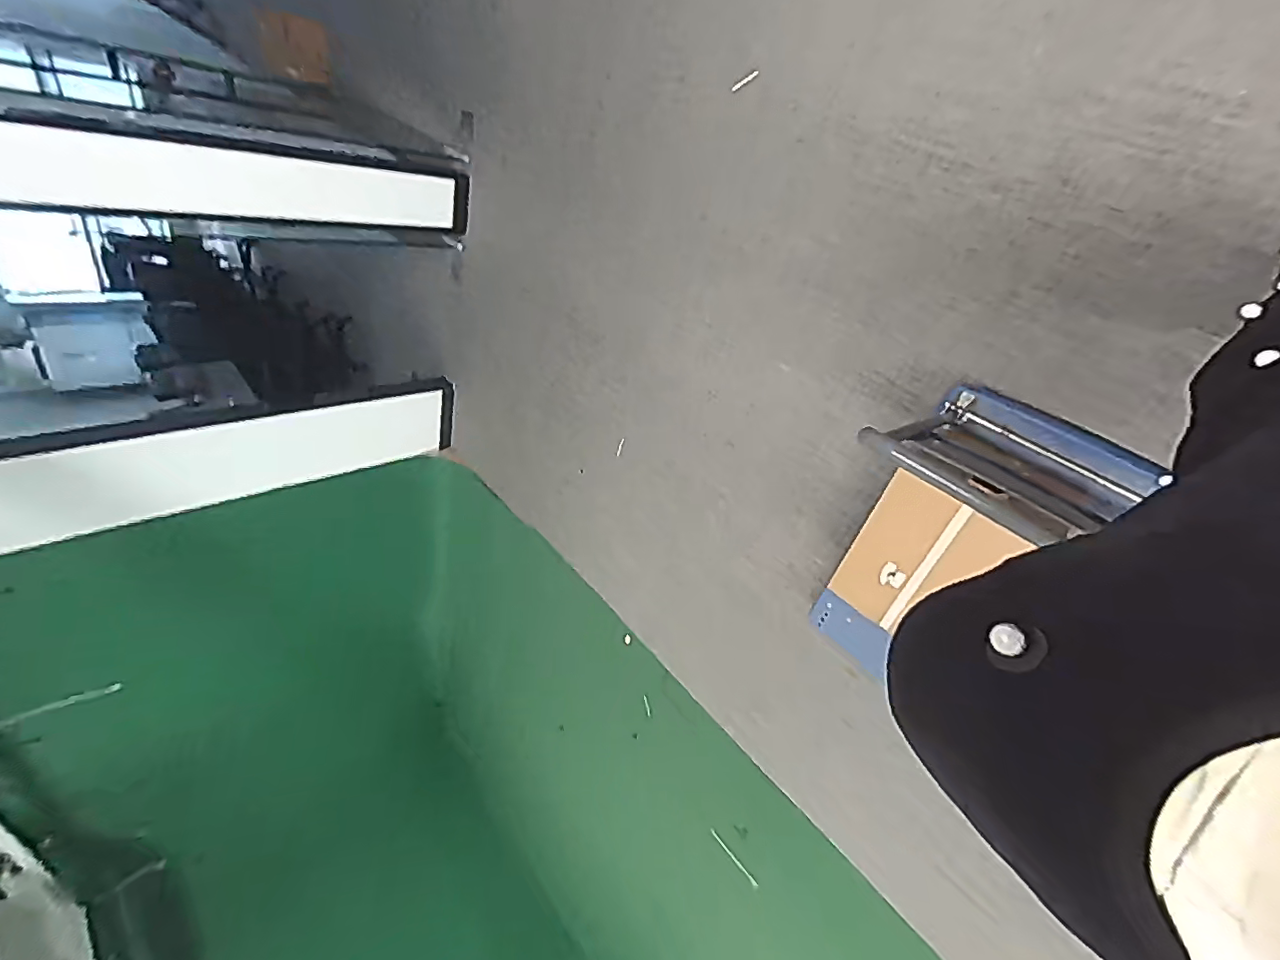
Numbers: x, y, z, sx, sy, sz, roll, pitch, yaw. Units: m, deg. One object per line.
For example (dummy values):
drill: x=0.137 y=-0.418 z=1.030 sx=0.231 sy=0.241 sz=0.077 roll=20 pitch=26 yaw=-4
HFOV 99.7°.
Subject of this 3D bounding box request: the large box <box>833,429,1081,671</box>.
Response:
large box: x=0.726 y=0.144 z=1.261 sx=0.320 sy=0.320 sz=0.408 roll=38 pitch=128 yaw=30
